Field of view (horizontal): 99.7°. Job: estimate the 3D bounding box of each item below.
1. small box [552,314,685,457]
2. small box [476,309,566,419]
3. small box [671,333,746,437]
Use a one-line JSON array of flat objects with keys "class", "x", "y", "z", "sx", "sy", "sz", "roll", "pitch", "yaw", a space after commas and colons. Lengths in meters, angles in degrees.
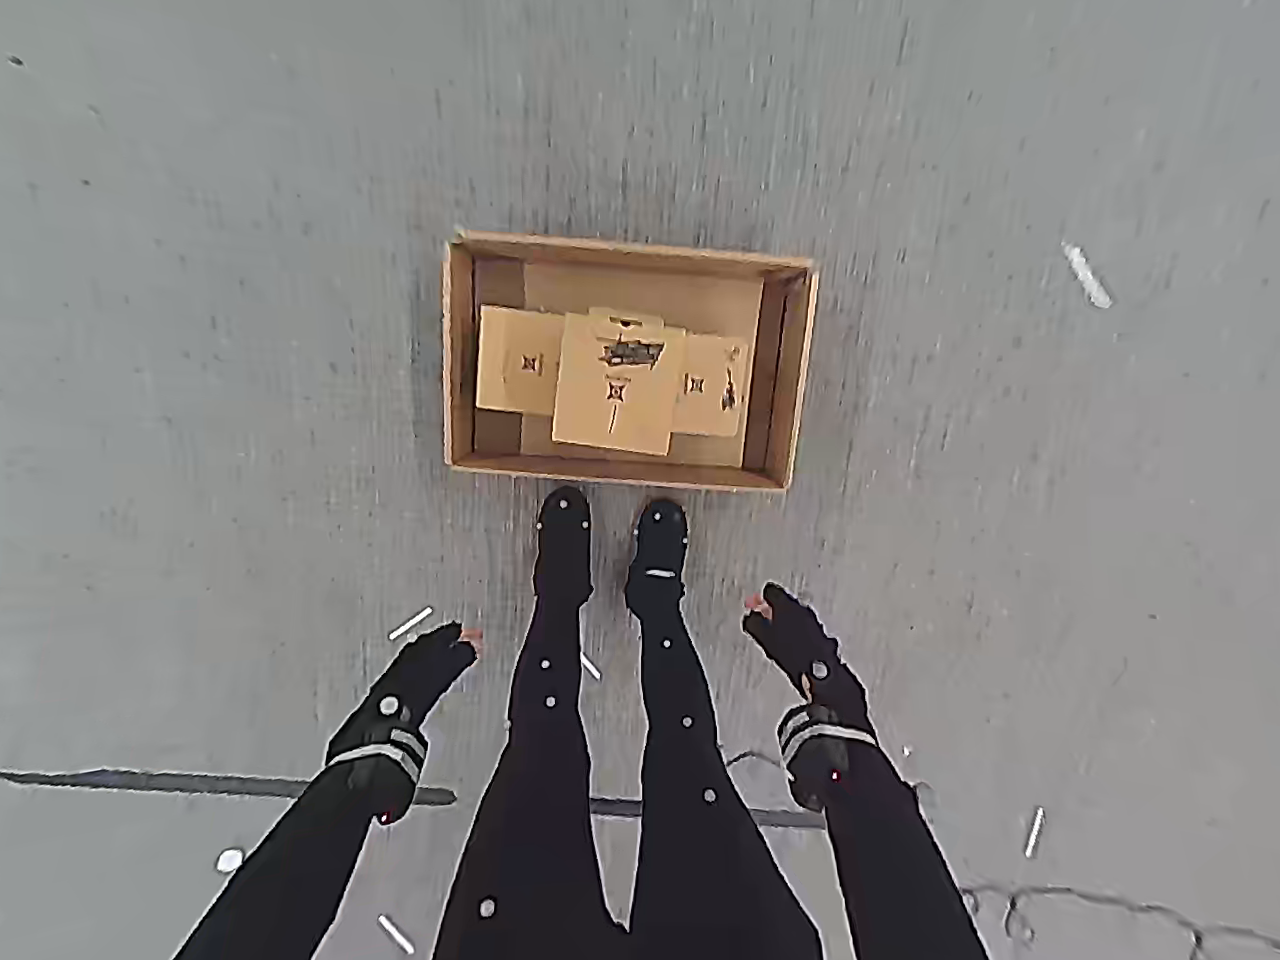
[{"class": "small box", "x": -0.033, "y": -0.143, "z": 0.819, "sx": 0.168, "sy": 0.176, "sz": 0.179, "roll": 8, "pitch": 102, "yaw": -3}, {"class": "small box", "x": -0.182, "y": -0.205, "z": 0.968, "sx": 0.179, "sy": 0.176, "sz": 0.168, "roll": 6, "pitch": 102, "yaw": -3}, {"class": "small box", "x": 0.084, "y": -0.177, "z": 0.984, "sx": 0.179, "sy": 0.176, "sz": 0.168, "roll": 6, "pitch": 103, "yaw": 0}]
